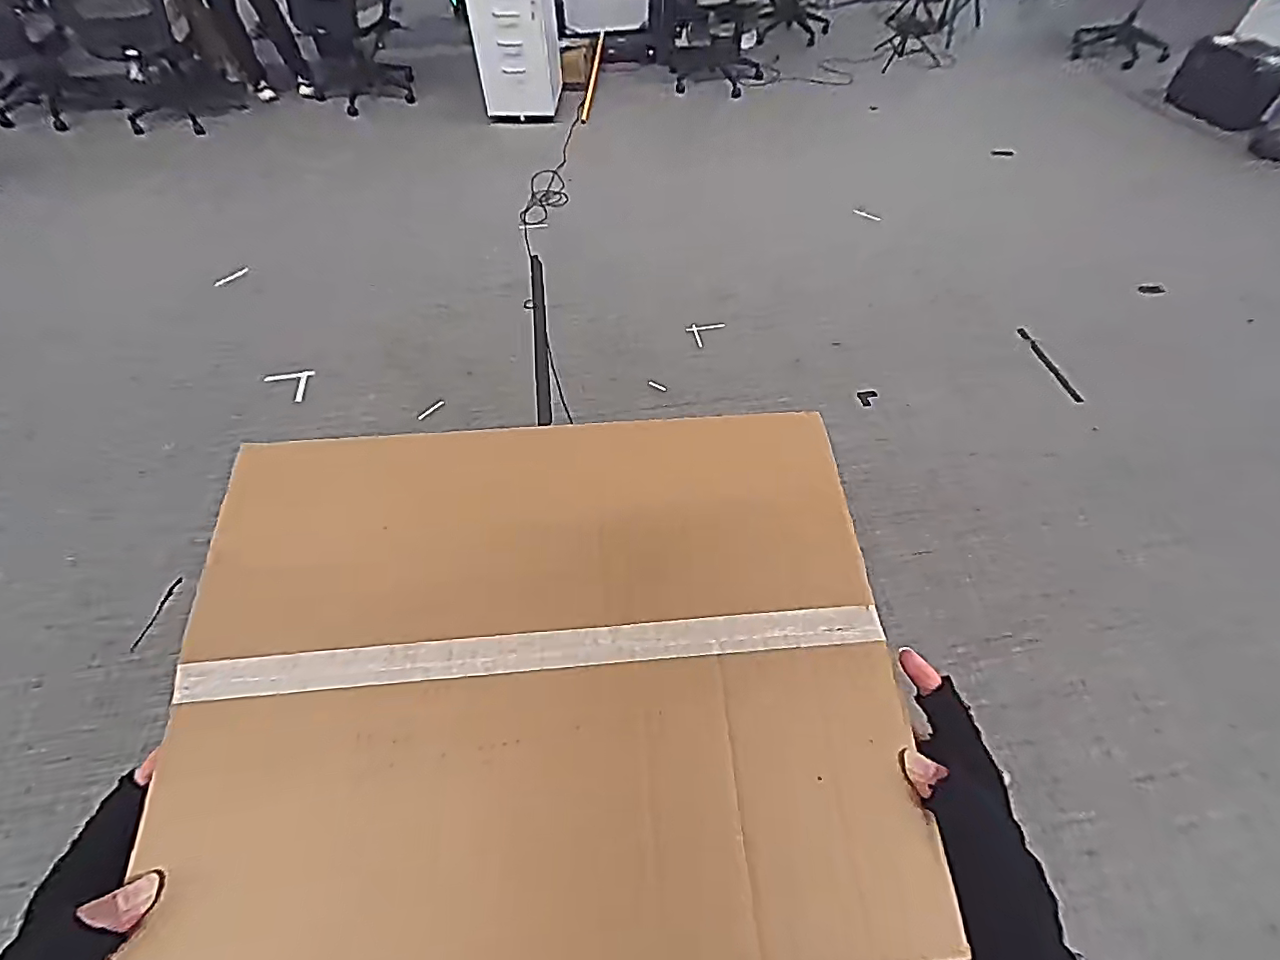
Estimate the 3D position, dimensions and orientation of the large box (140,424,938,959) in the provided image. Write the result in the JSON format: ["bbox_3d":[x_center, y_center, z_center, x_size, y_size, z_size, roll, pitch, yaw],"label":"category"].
[{"bbox_3d":[-0.061,0.176,0.462,0.408,0.320,0.320,-4,64,-3],"label":"large box"}]
